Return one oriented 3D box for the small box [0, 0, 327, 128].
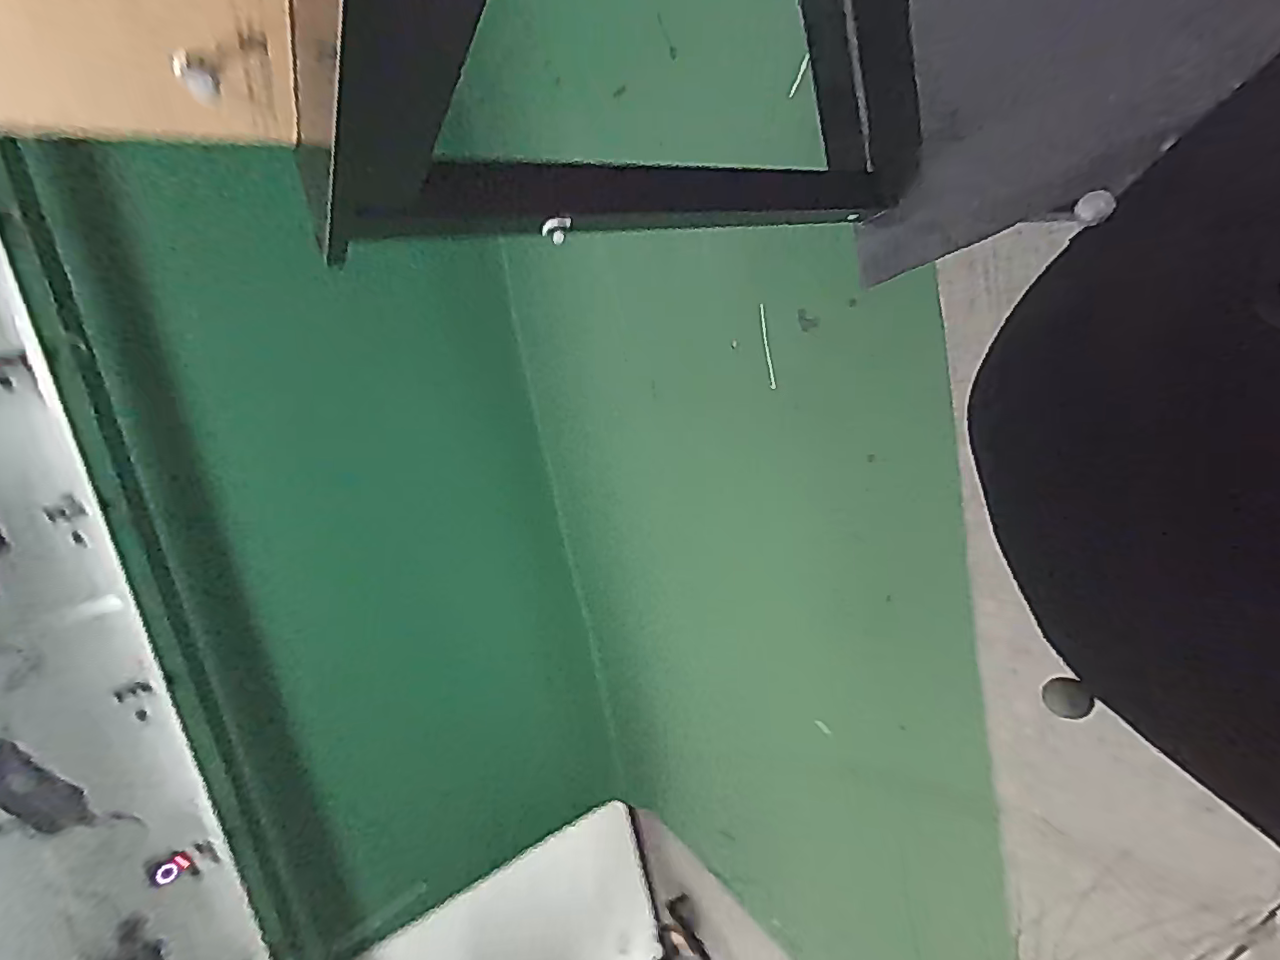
[{"bbox_3d":[-0.288,-0.323,0.291,0.168,0.176,0.179,0,106,59],"label":"small box"}]
